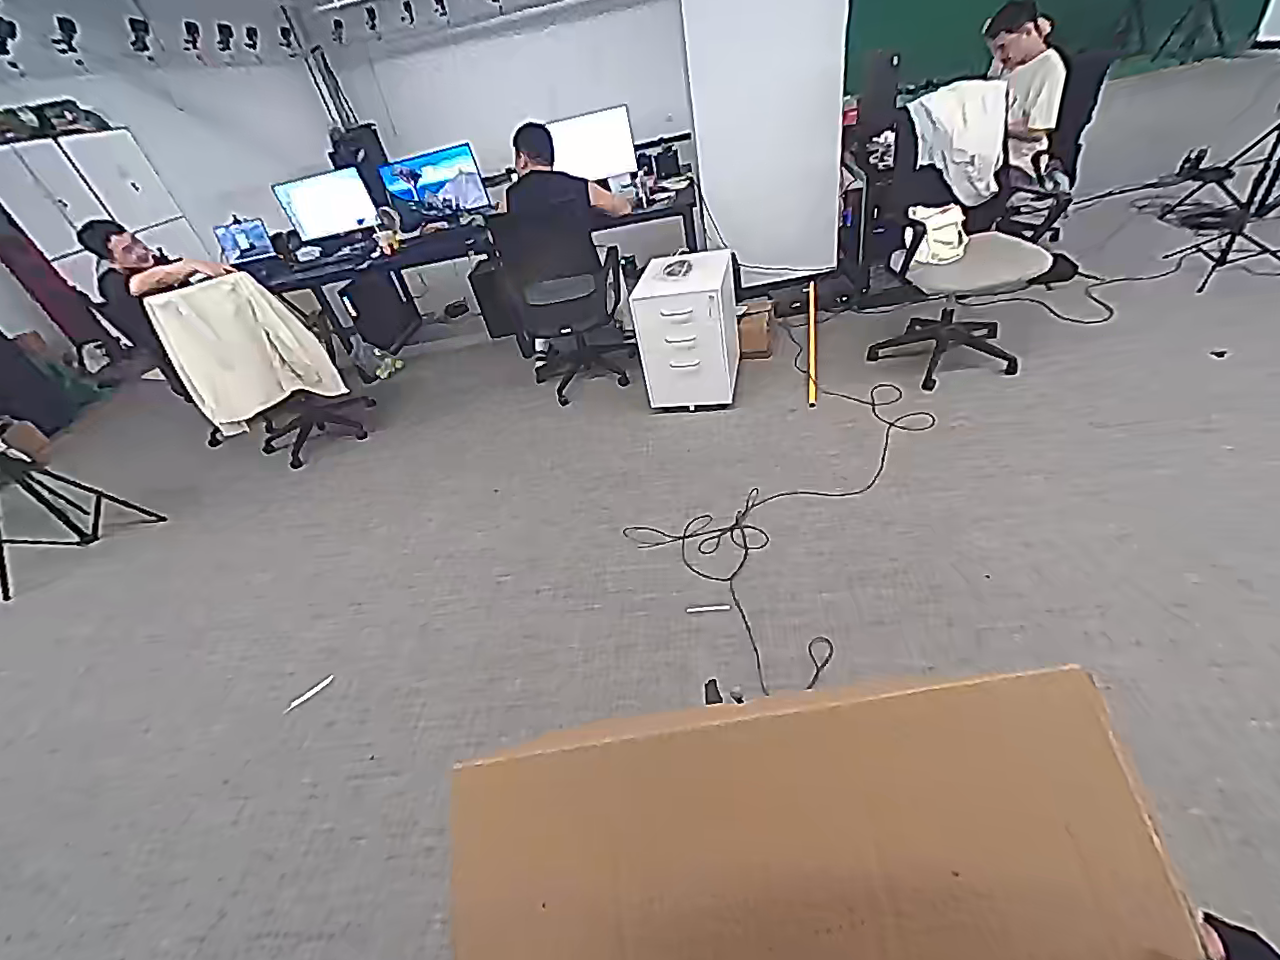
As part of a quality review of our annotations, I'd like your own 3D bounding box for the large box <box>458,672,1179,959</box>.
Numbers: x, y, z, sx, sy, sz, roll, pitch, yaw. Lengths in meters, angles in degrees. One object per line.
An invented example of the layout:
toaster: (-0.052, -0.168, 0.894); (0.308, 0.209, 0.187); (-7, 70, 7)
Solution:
large box: (0.116, 0.352, 0.438); (0.408, 0.320, 0.320); (-11, 69, 3)
